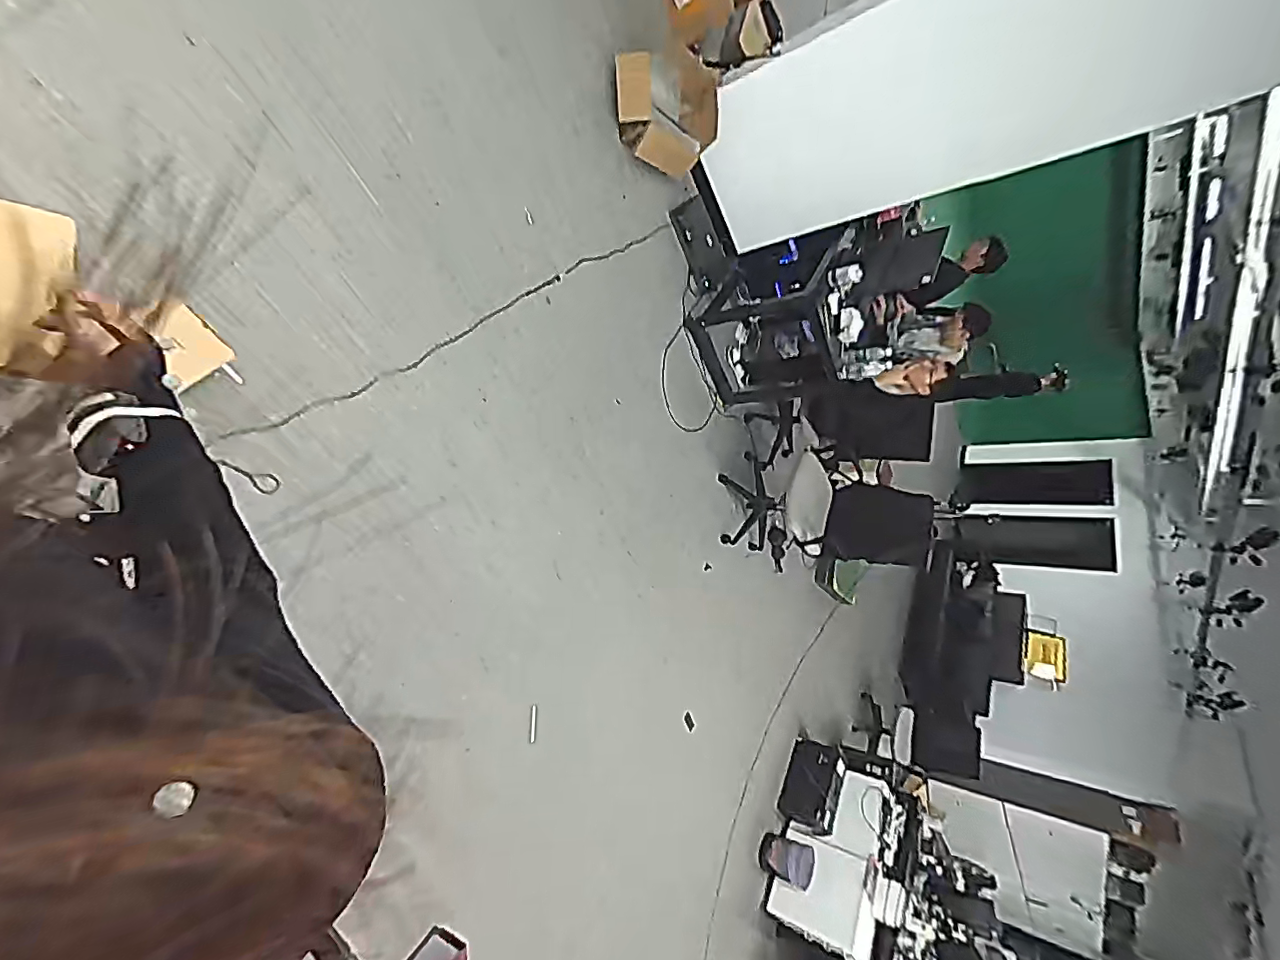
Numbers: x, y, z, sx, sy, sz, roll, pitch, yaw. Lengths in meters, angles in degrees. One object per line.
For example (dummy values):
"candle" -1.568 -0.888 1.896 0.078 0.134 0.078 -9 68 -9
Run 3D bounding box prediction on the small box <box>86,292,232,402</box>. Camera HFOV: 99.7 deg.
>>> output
"small box" -1.081 -0.294 1.215 0.179 0.176 0.168 -56 129 -35

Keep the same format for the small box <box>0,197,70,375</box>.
"small box" -0.715 -0.202 0.551 0.179 0.176 0.168 1 95 -50
